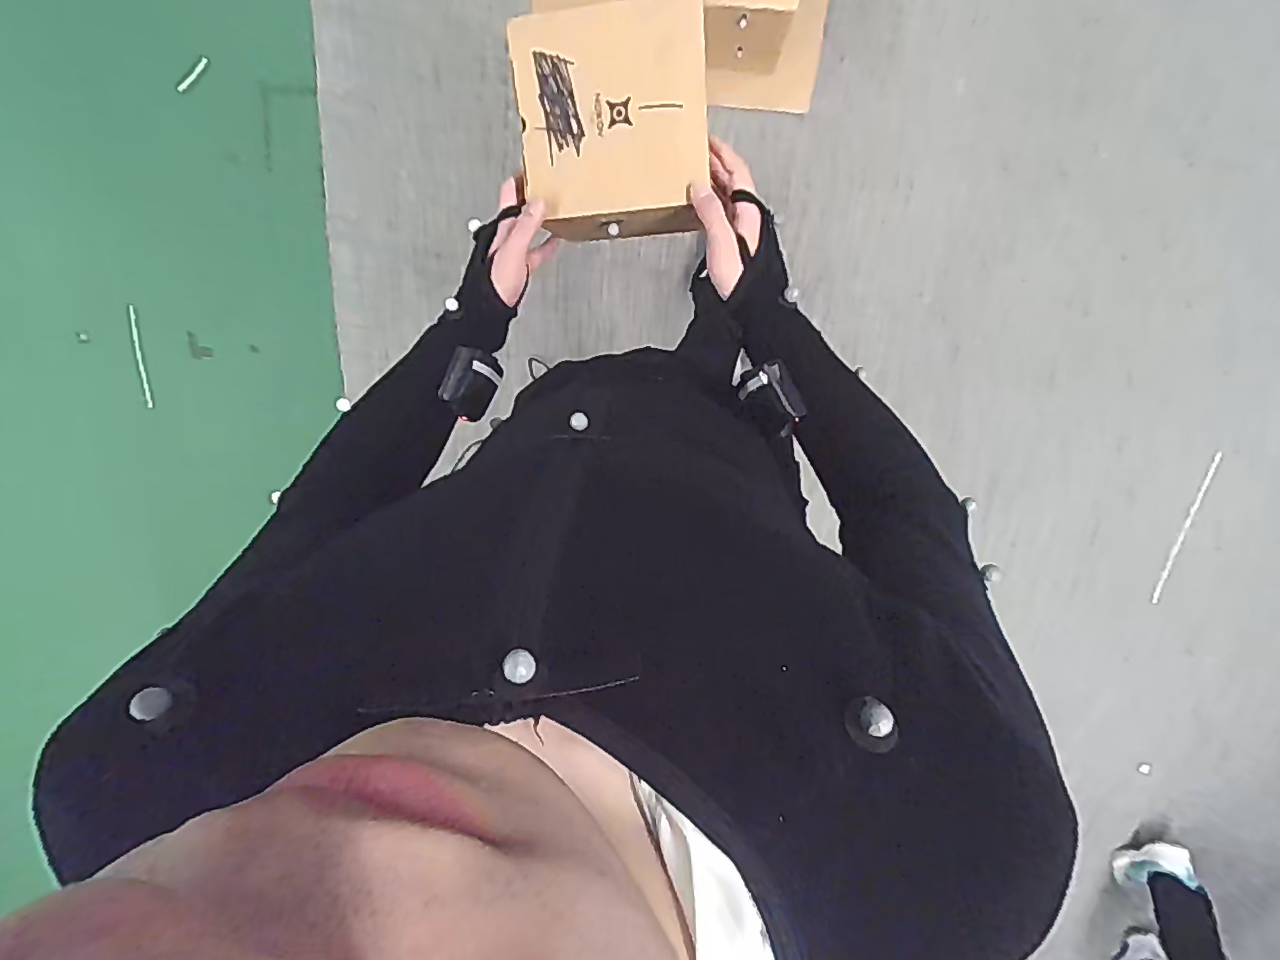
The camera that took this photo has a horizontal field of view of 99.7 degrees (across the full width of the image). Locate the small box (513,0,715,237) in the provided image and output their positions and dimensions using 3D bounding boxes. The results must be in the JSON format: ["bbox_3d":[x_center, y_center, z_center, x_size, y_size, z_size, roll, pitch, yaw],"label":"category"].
[{"bbox_3d":[-0.013,-0.357,0.562,0.179,0.176,0.168,-2,107,7],"label":"small box"}]

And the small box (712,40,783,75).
[{"bbox_3d":[0.232,-1.025,1.192,0.179,0.176,0.168,8,109,3],"label":"small box"}]

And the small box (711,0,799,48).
[{"bbox_3d":[0.217,-0.966,1.042,0.179,0.176,0.168,8,110,4],"label":"small box"}]
